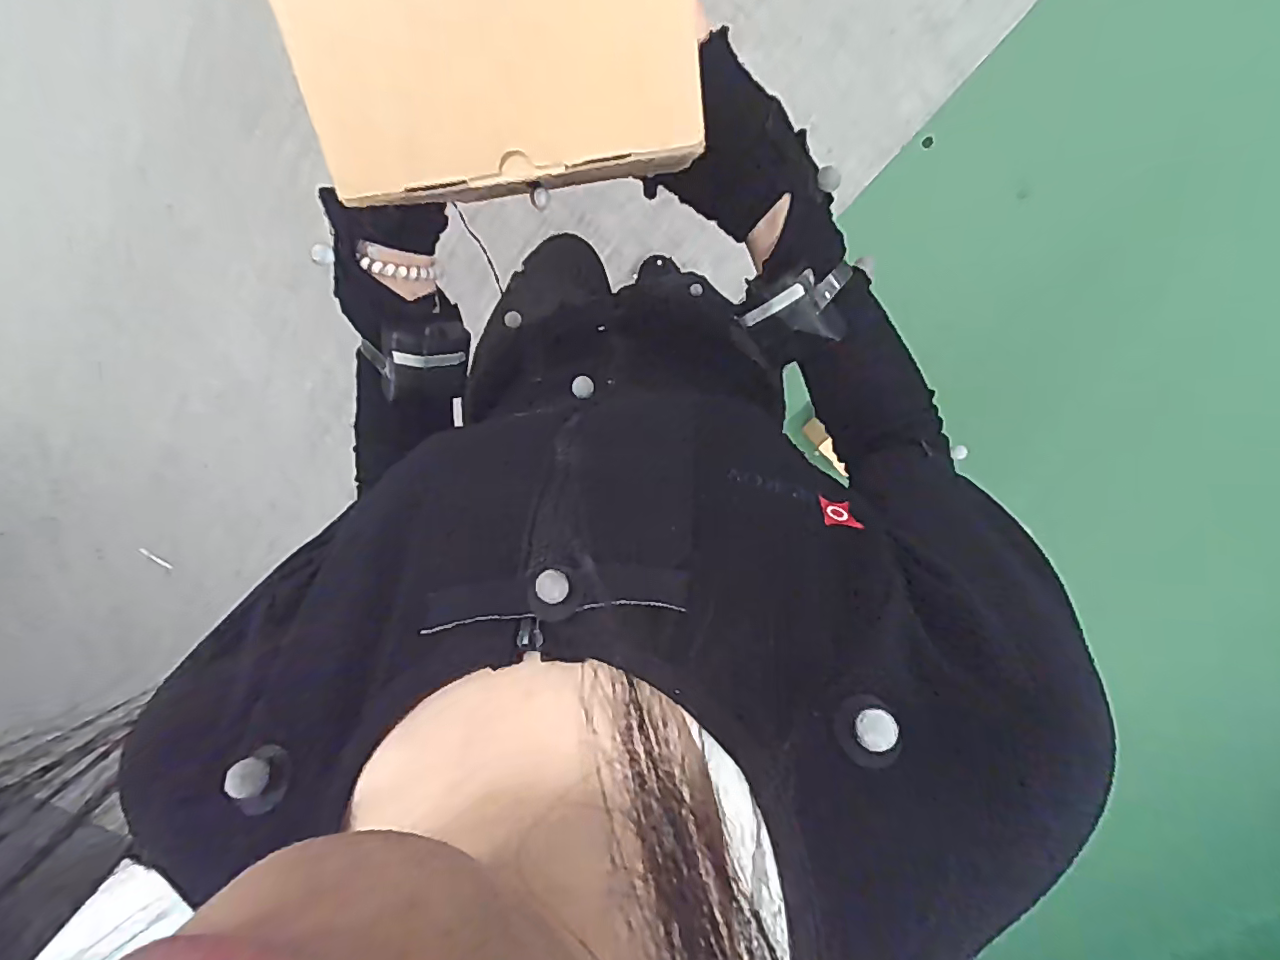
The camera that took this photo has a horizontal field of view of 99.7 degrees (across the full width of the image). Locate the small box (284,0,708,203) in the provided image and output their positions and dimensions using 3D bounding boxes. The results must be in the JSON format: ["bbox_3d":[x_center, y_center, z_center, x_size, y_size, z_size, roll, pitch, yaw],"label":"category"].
[{"bbox_3d":[-0.060,-0.247,0.272,0.168,0.176,0.179,-6,118,5],"label":"small box"}]
